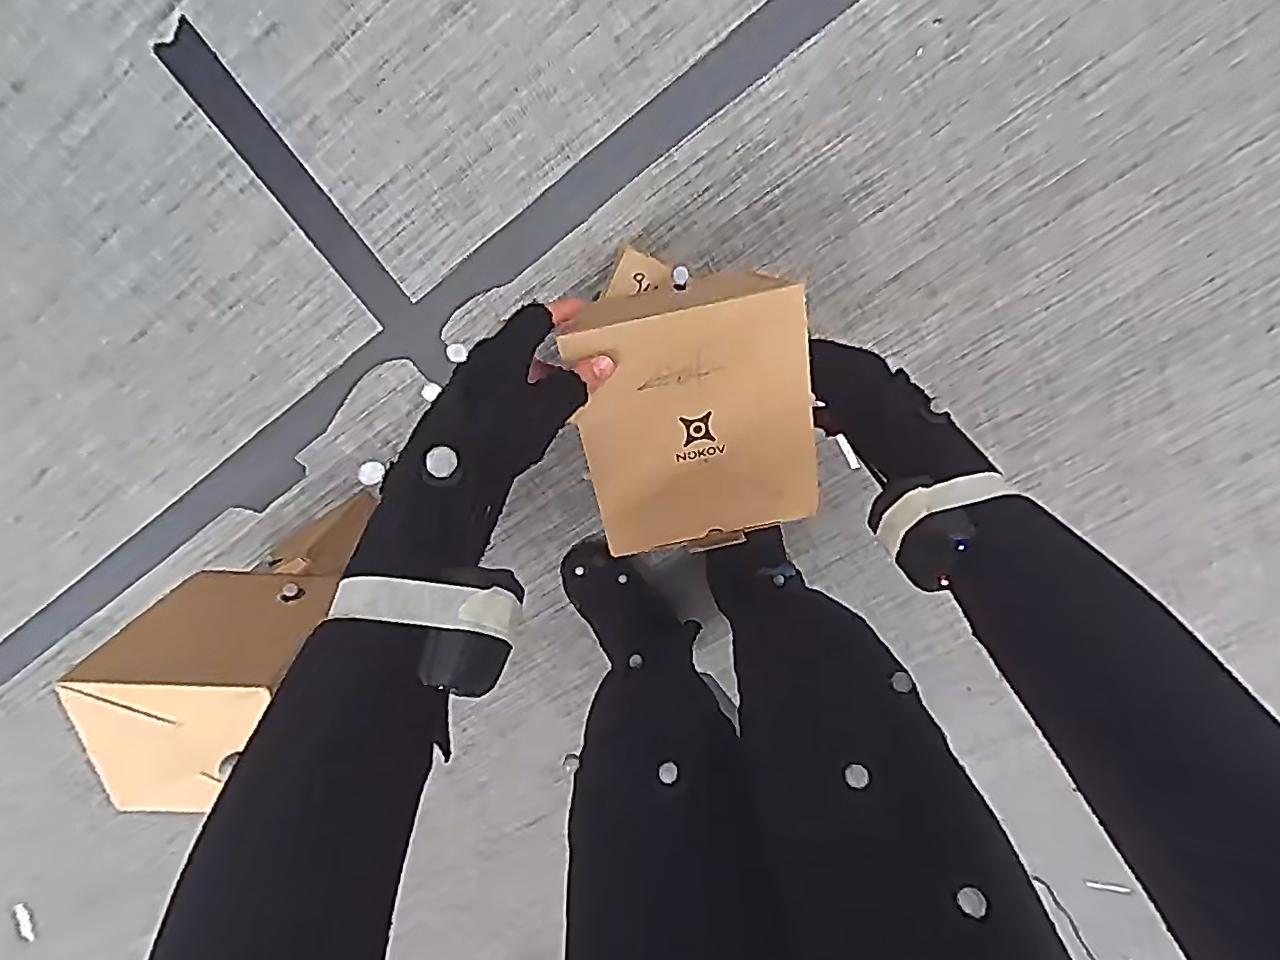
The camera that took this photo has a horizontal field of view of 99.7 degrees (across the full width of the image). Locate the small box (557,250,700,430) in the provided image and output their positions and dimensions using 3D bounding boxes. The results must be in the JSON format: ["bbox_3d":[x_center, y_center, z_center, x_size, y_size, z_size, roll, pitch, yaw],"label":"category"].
[{"bbox_3d":[0.022,-0.136,0.608,0.168,0.176,0.179,23,112,-14],"label":"small box"}]

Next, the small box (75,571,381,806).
[{"bbox_3d":[-0.404,0.213,0.567,0.179,0.176,0.168,2,114,-2],"label":"small box"}]

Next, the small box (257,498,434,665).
[{"bbox_3d":[-0.403,0.152,0.723,0.179,0.176,0.168,-30,112,12],"label":"small box"}]

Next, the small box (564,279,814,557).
[{"bbox_3d":[0.039,-0.062,0.463,0.168,0.176,0.179,-11,115,1],"label":"small box"}]
